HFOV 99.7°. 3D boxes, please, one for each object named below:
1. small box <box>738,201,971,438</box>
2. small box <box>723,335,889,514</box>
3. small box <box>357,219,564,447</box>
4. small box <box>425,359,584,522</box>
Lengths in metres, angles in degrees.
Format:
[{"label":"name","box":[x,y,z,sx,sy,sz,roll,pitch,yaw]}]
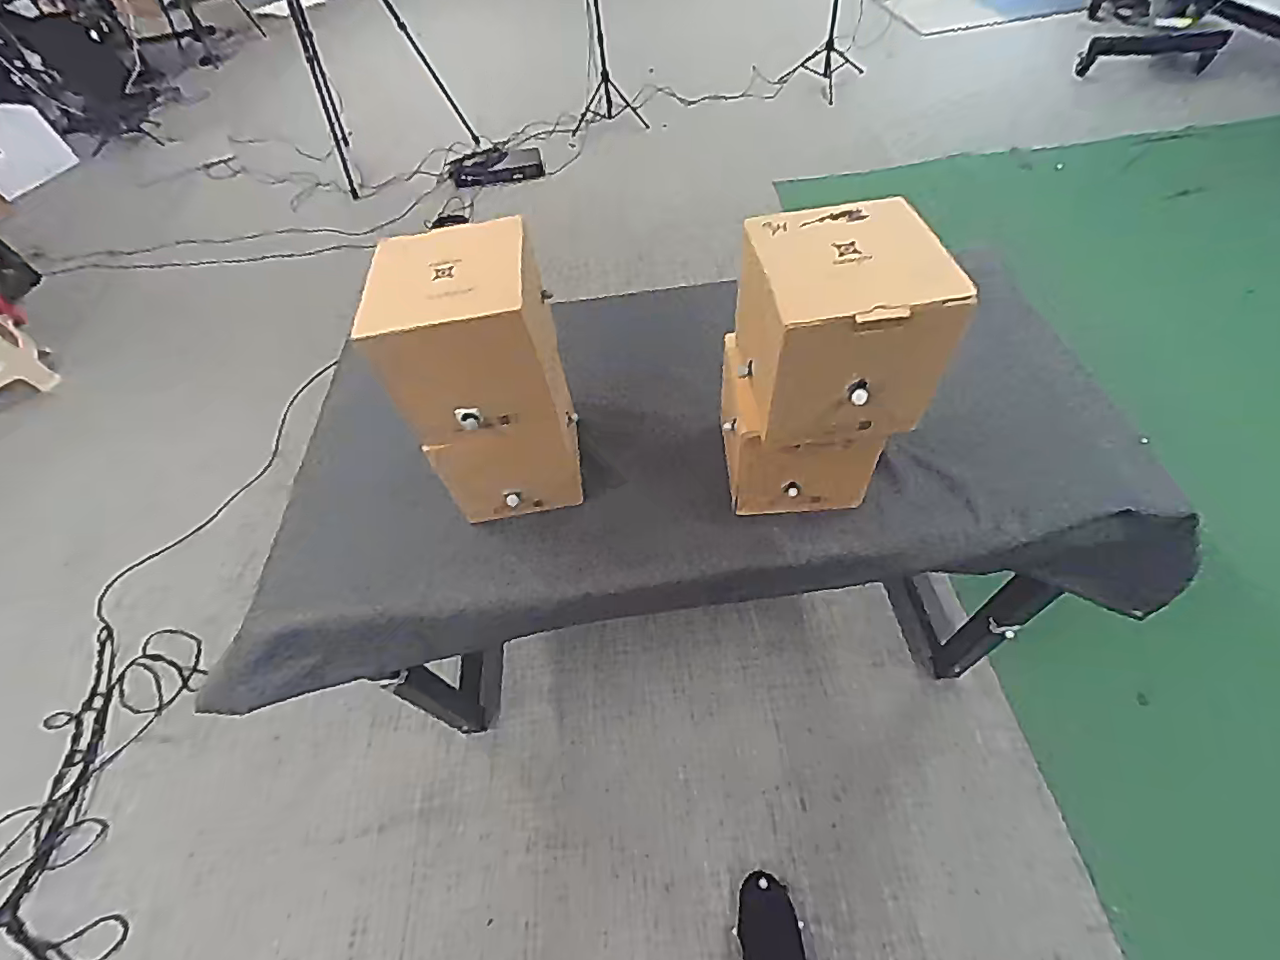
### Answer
[{"label":"small box","box":[0.201,-0.158,0.569,0.168,0.176,0.179,-7,54,1]},{"label":"small box","box":[0.201,-0.075,0.712,0.168,0.176,0.179,-4,53,3]},{"label":"small box","box":[-0.187,-0.164,0.619,0.168,0.176,0.179,-10,54,1]},{"label":"small box","box":[-0.177,-0.067,0.749,0.168,0.176,0.179,-10,54,0]}]
